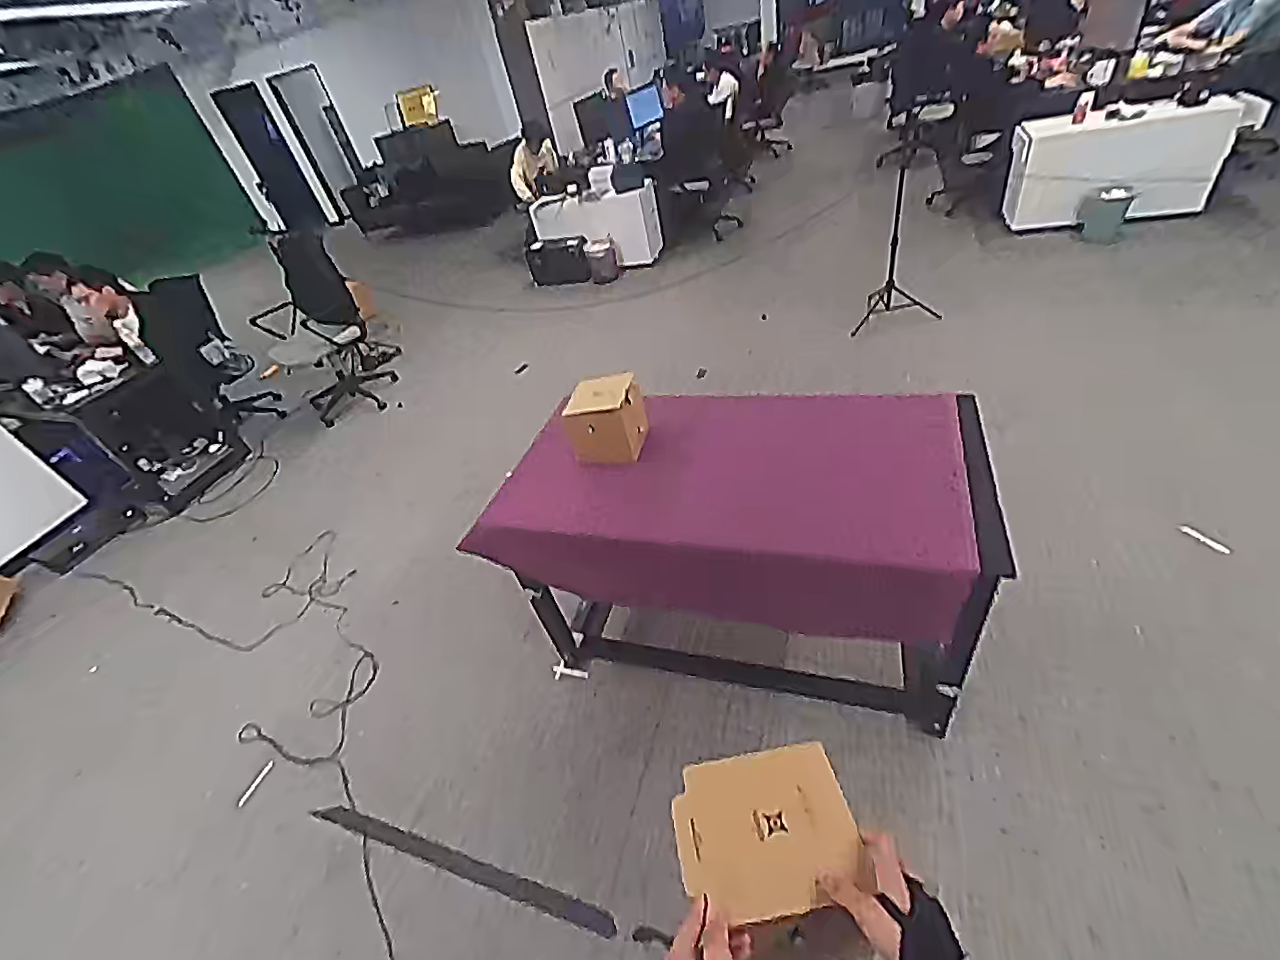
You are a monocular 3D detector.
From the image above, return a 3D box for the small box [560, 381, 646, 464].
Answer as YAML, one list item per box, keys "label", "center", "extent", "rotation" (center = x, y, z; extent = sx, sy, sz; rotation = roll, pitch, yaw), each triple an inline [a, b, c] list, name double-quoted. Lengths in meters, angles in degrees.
- label: "small box"
  center: [-0.097, -0.158, 1.506]
  extent: [0.179, 0.176, 0.168]
  rotation: [2, 43, 18]

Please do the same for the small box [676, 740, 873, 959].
- label: "small box"
  center: [0.150, 0.442, 0.631]
  extent: [0.179, 0.176, 0.168]
  rotation: [-11, 30, -1]
